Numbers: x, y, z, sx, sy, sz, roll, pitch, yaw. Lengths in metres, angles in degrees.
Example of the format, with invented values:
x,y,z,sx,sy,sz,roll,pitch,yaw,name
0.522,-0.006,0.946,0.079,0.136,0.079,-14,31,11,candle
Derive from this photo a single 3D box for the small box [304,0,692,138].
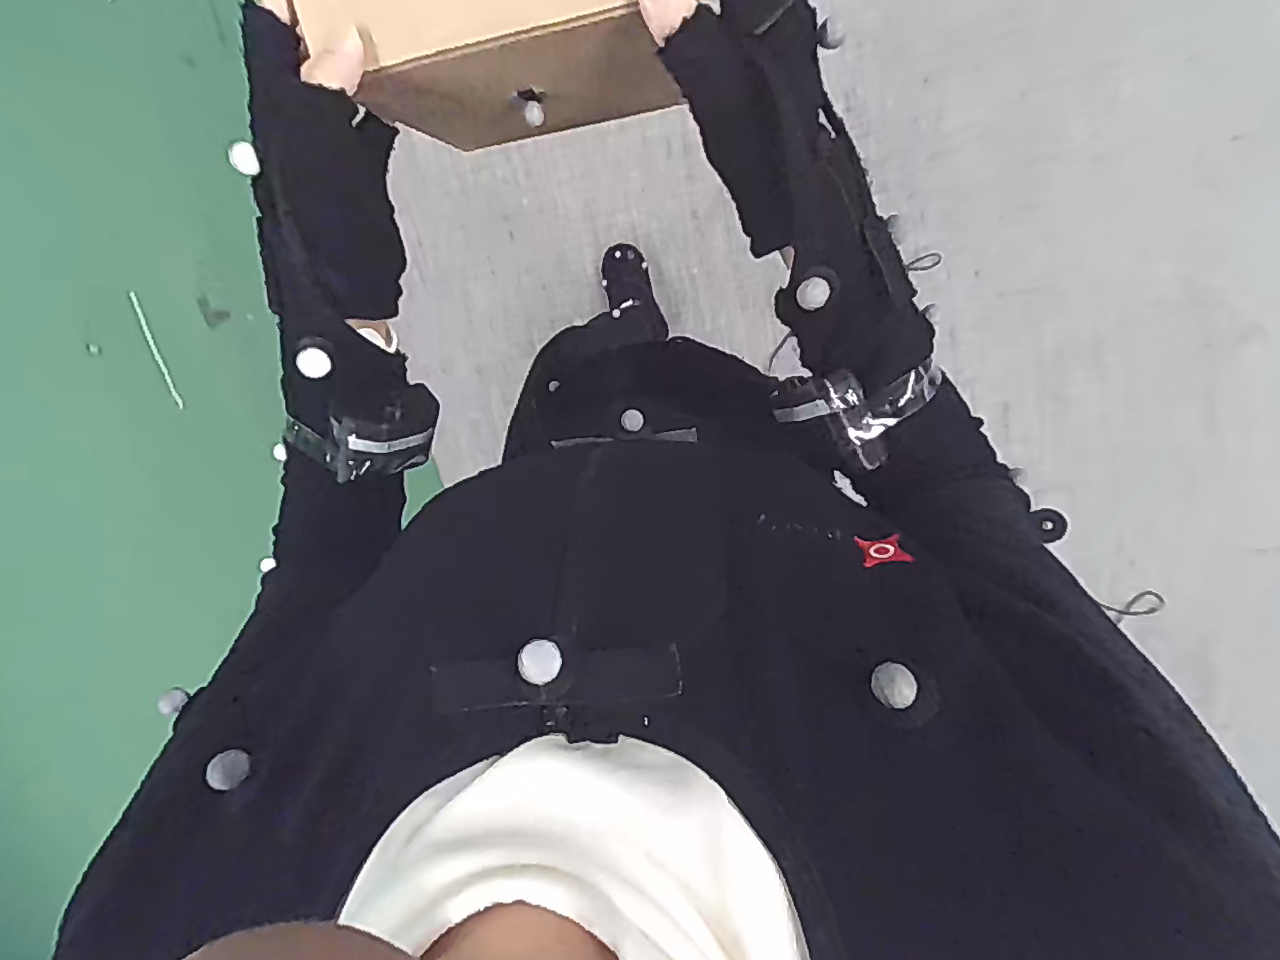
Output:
x,y,z,sx,sy,sz,roll,pitch,yaw,name
-0.066,-0.304,0.286,0.179,0.176,0.168,-5,111,10,small box
